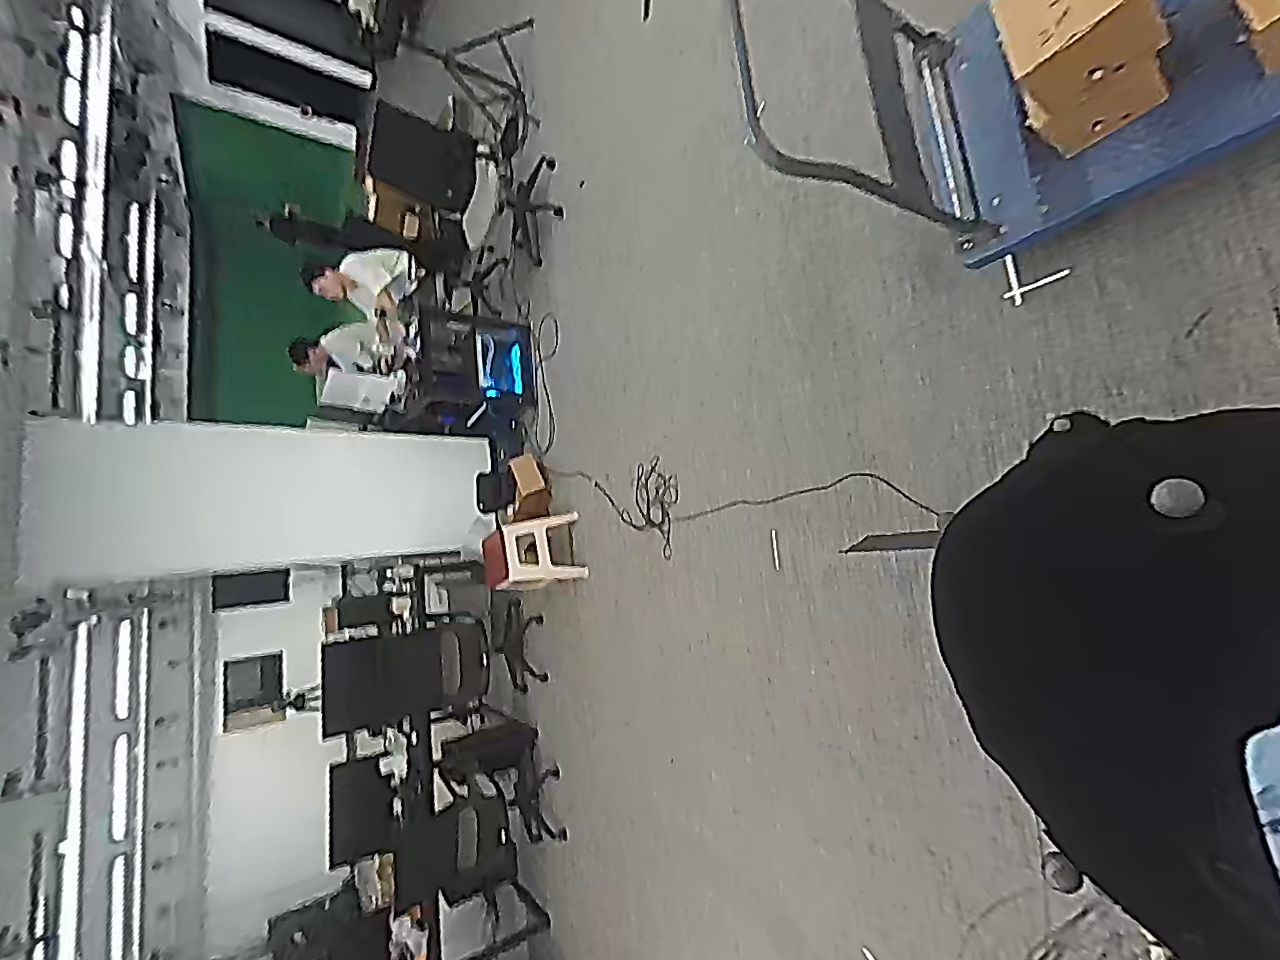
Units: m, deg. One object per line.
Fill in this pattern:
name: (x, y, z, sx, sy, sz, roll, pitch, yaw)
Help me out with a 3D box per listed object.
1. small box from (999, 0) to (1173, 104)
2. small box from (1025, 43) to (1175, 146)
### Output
small box: (0.724, -0.772, 0.885, 0.168, 0.176, 0.179, -22, 73, 52)
small box: (0.843, -0.769, 1.003, 0.168, 0.176, 0.179, -23, 73, 52)
